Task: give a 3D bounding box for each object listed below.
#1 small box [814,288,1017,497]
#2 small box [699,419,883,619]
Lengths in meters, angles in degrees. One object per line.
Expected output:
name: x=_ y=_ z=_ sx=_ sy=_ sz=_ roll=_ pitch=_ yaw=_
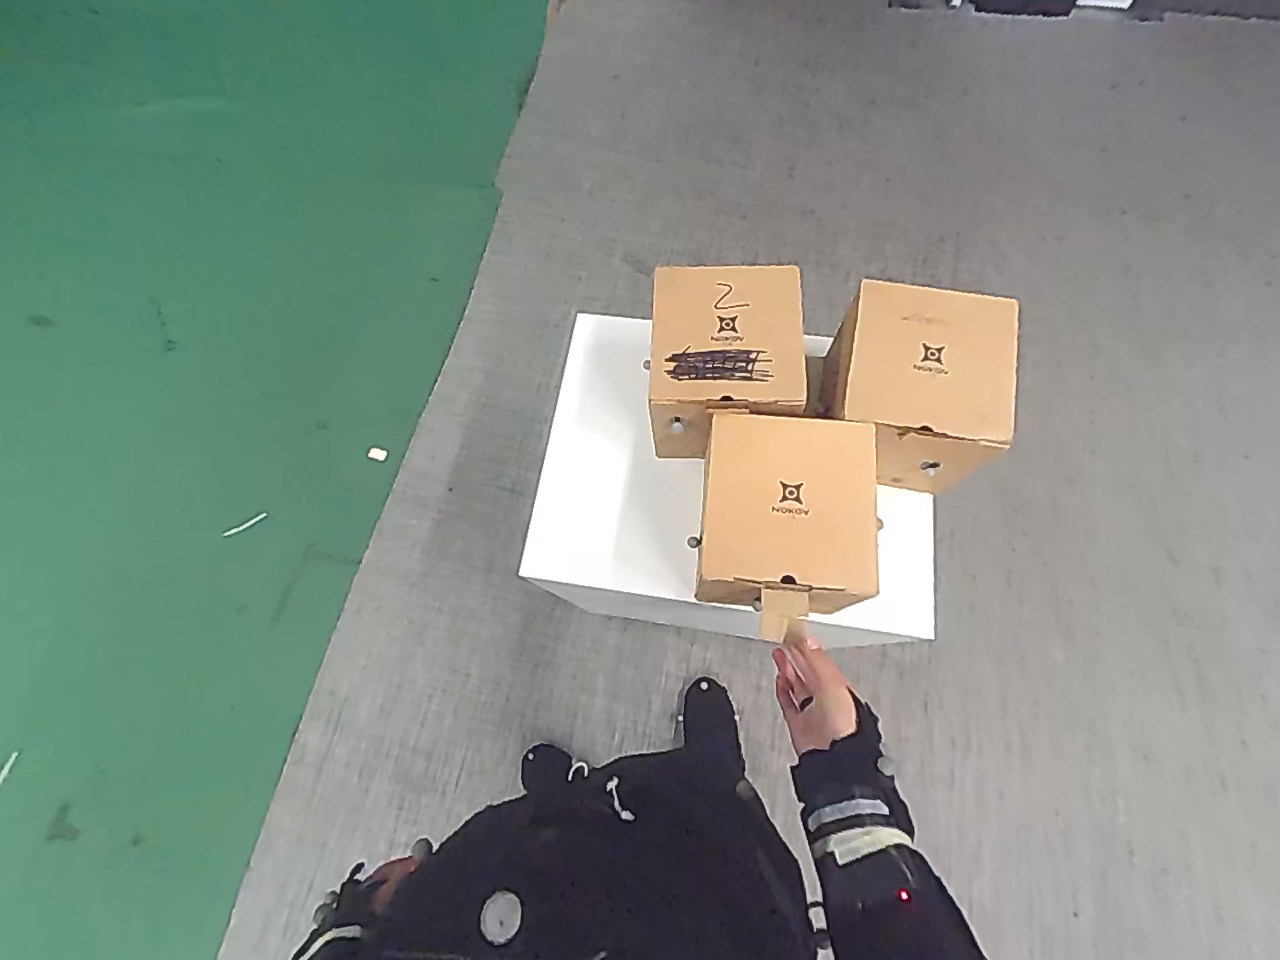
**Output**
small box: x=0.311 y=-0.093 z=0.641 sx=0.168 sy=0.176 sz=0.179 roll=11 pitch=72 yaw=7
small box: x=0.156 y=0.051 z=0.604 sx=0.168 sy=0.176 sz=0.179 roll=5 pitch=71 yaw=6
